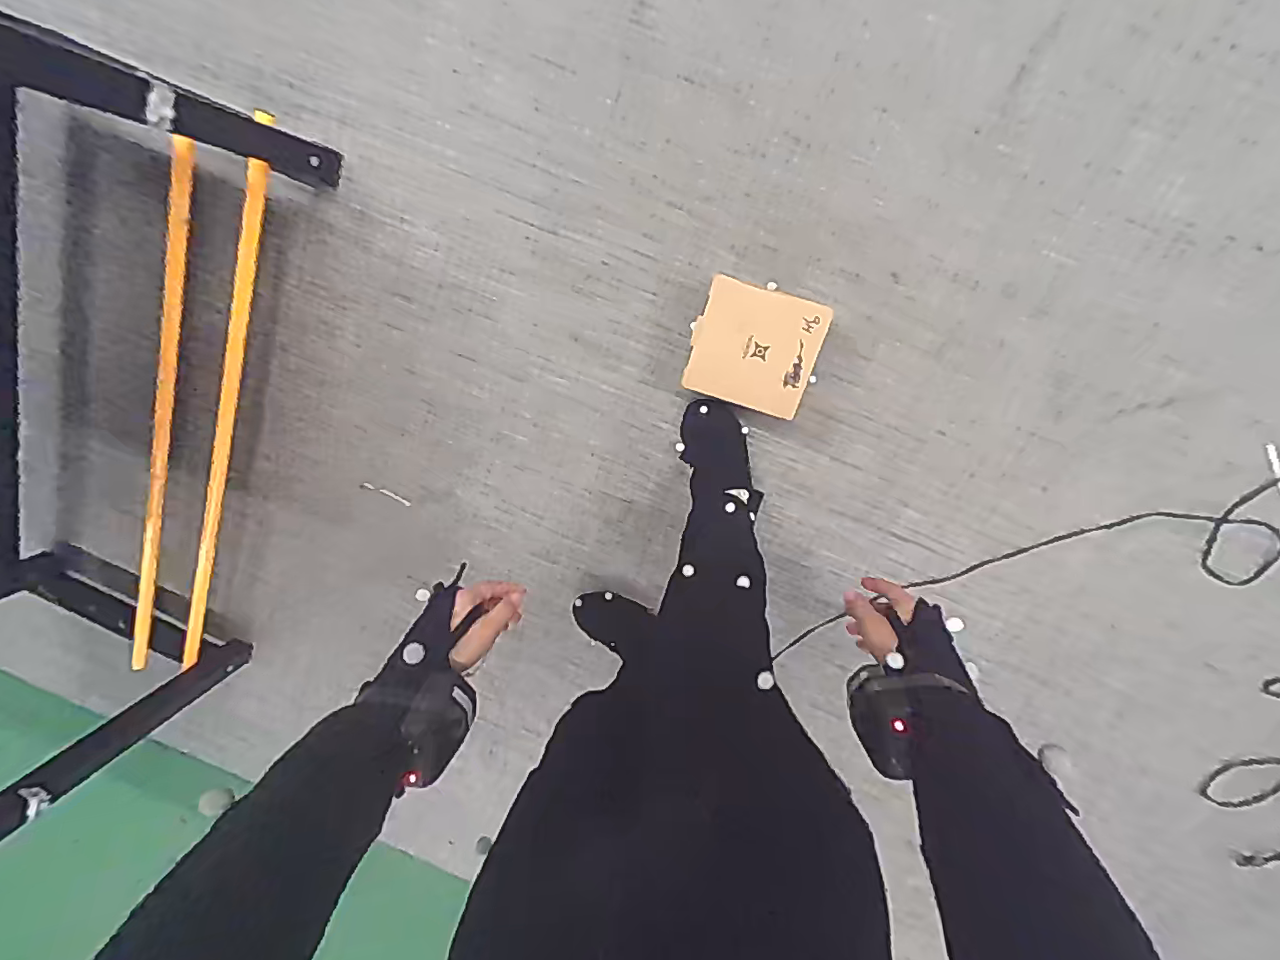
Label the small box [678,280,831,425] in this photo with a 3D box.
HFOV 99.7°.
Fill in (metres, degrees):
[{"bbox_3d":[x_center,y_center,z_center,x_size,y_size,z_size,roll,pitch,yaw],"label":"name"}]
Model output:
[{"bbox_3d":[0.174,-0.201,0.851,0.179,0.176,0.168,19,108,5],"label":"small box"}]
